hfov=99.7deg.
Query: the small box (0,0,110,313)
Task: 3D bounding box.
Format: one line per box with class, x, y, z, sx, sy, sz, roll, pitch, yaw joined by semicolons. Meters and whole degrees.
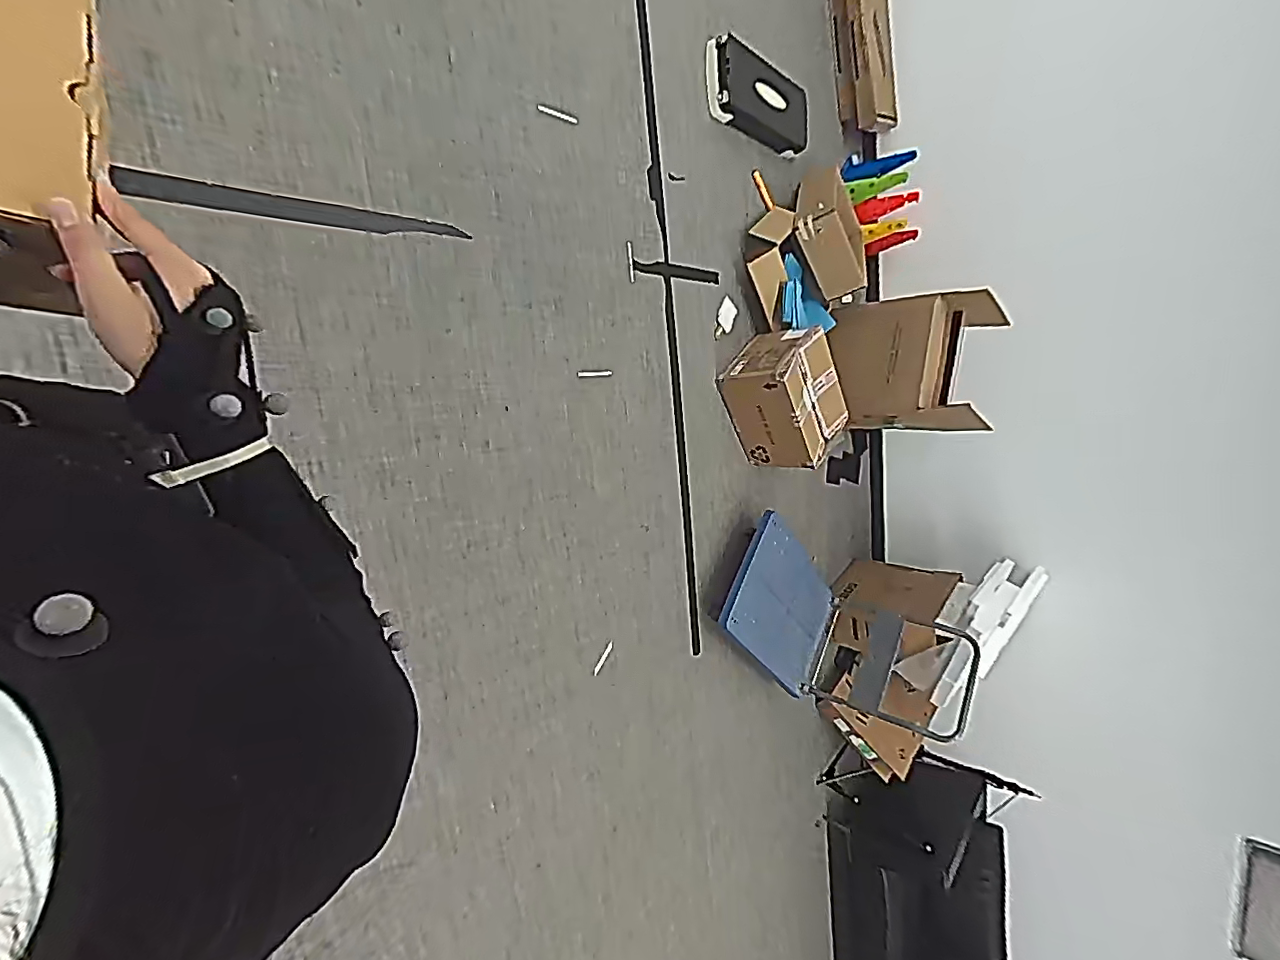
small box;-0.441;-0.216;0.320;0.179;0.176;0.168;1;84;-44
